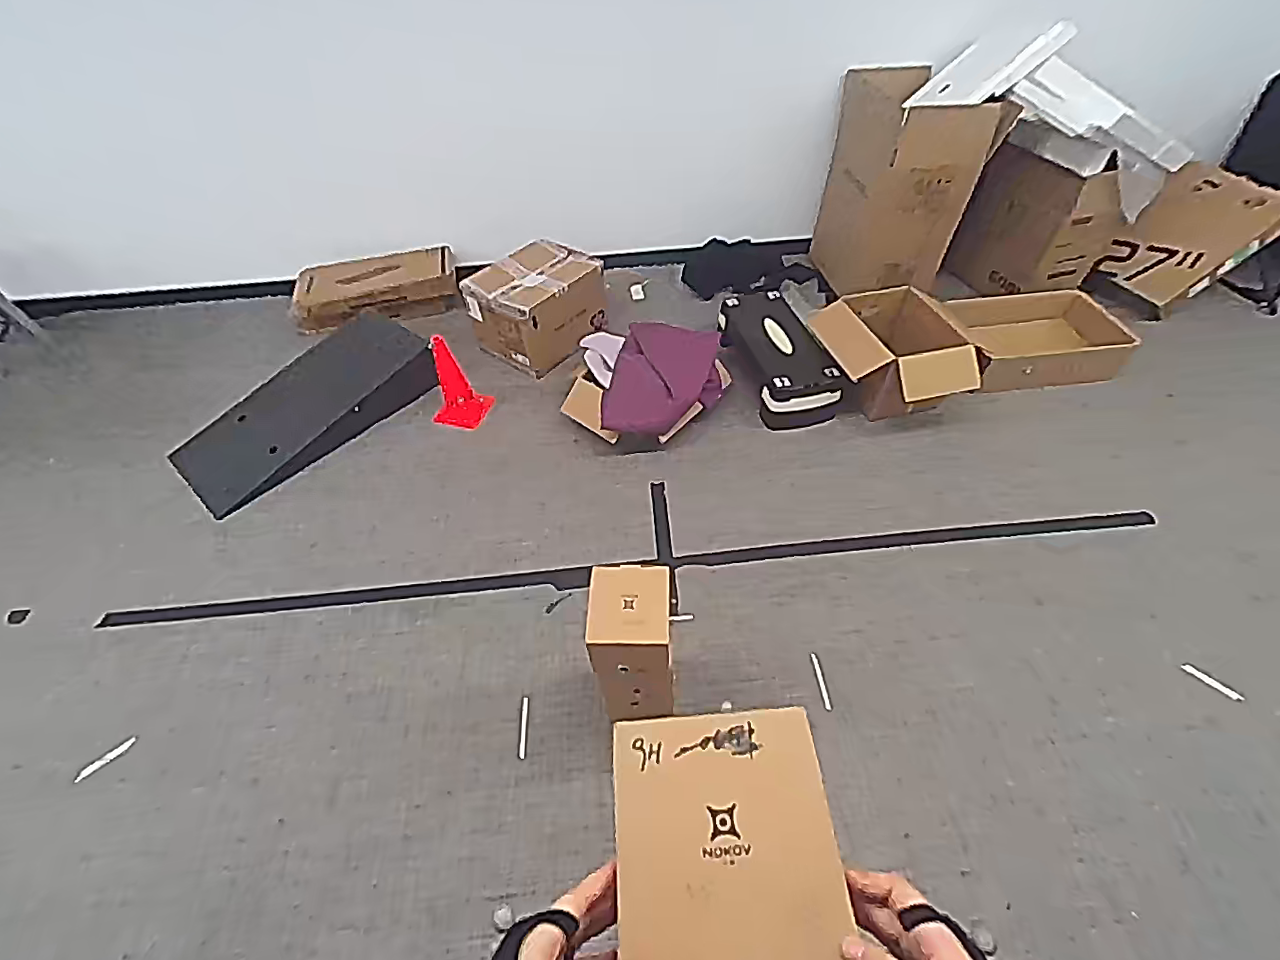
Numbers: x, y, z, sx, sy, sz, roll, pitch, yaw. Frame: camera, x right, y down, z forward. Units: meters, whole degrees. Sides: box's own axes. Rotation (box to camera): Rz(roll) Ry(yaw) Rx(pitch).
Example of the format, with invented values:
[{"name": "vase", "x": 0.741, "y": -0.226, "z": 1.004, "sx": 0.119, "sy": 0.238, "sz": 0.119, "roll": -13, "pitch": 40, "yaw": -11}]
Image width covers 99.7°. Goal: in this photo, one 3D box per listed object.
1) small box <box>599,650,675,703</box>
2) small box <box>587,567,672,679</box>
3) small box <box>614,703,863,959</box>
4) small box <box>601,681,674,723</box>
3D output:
[{"name": "small box", "x": -0.009, "y": 0.404, "z": 1.273, "sx": 0.168, "sy": 0.176, "sz": 0.179, "roll": -5, "pitch": 49, "yaw": -1}, {"name": "small box", "x": -0.016, "y": 0.303, "z": 1.146, "sx": 0.168, "sy": 0.176, "sz": 0.179, "roll": -1, "pitch": 50, "yaw": 3}, {"name": "small box", "x": 0.071, "y": 0.309, "z": 0.467, "sx": 0.168, "sy": 0.176, "sz": 0.179, "roll": -6, "pitch": 54, "yaw": 2}, {"name": "small box", "x": -0.008, "y": 0.513, "z": 1.397, "sx": 0.179, "sy": 0.176, "sz": 0.168, "roll": -7, "pitch": 49, "yaw": -4}]
